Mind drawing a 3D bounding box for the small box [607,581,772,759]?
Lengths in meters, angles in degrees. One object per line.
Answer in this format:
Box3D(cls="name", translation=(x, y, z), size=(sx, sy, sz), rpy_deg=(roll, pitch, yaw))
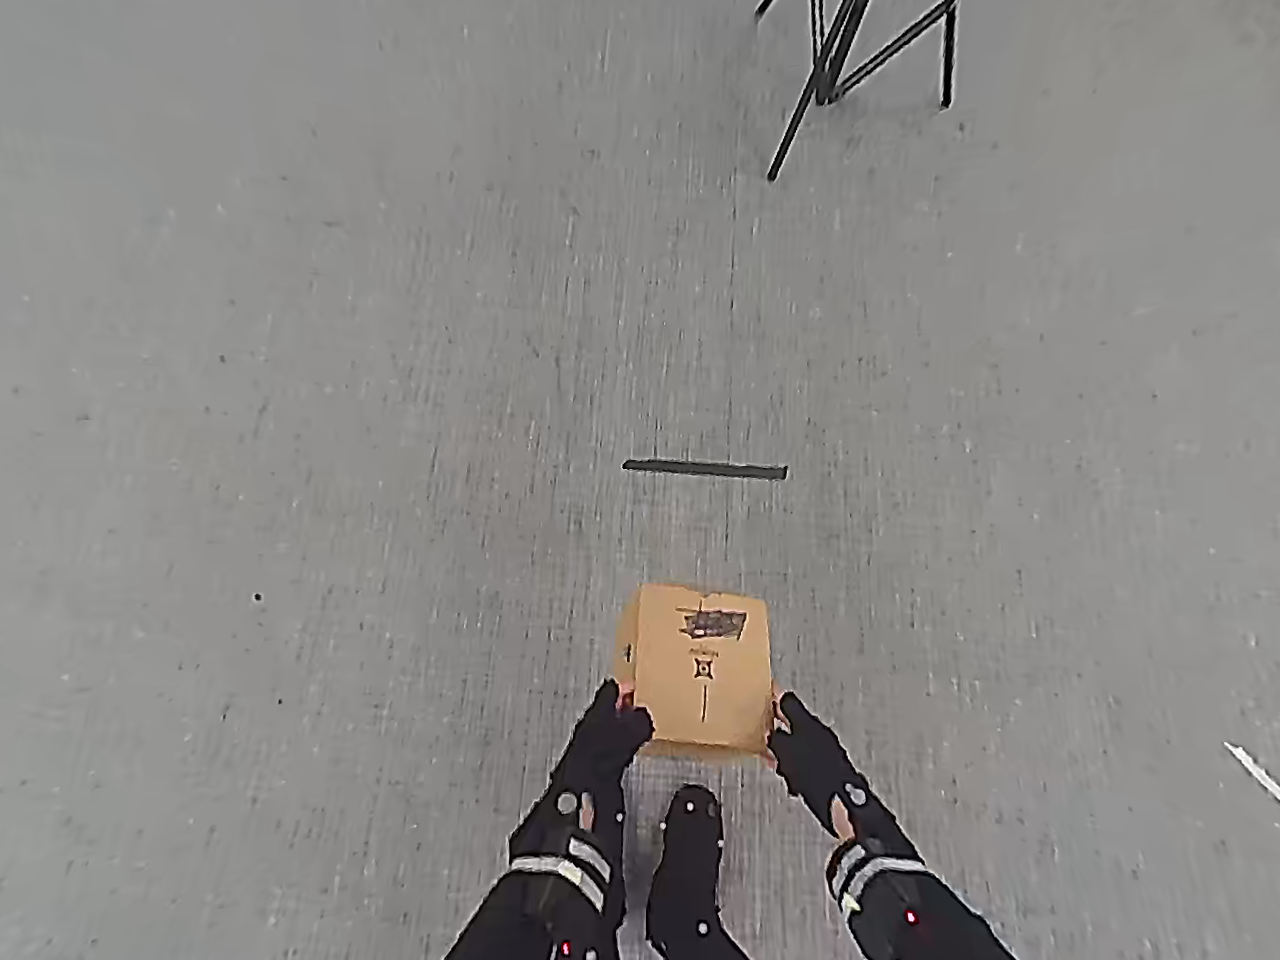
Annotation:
Box3D(cls="small box", translation=(0.055, 0.251, 0.699), size=(0.168, 0.176, 0.179), rpy_deg=(9, 58, -8))
